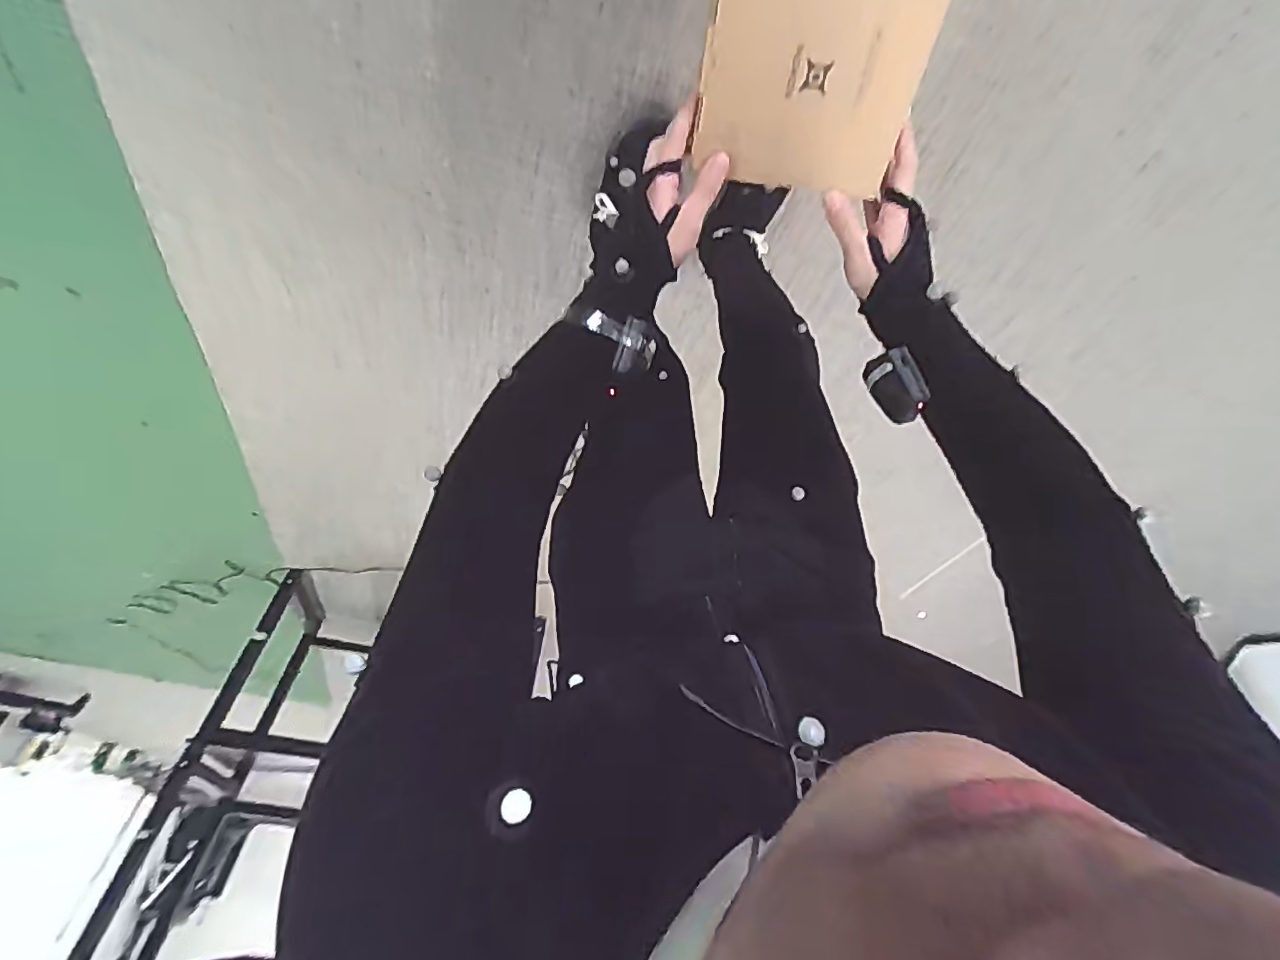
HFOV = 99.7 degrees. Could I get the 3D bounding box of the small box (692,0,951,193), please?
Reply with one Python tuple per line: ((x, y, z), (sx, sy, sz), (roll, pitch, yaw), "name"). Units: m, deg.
((0.146, -0.385, 0.494), (0.179, 0.176, 0.168), (6, 133, -2), "small box")
